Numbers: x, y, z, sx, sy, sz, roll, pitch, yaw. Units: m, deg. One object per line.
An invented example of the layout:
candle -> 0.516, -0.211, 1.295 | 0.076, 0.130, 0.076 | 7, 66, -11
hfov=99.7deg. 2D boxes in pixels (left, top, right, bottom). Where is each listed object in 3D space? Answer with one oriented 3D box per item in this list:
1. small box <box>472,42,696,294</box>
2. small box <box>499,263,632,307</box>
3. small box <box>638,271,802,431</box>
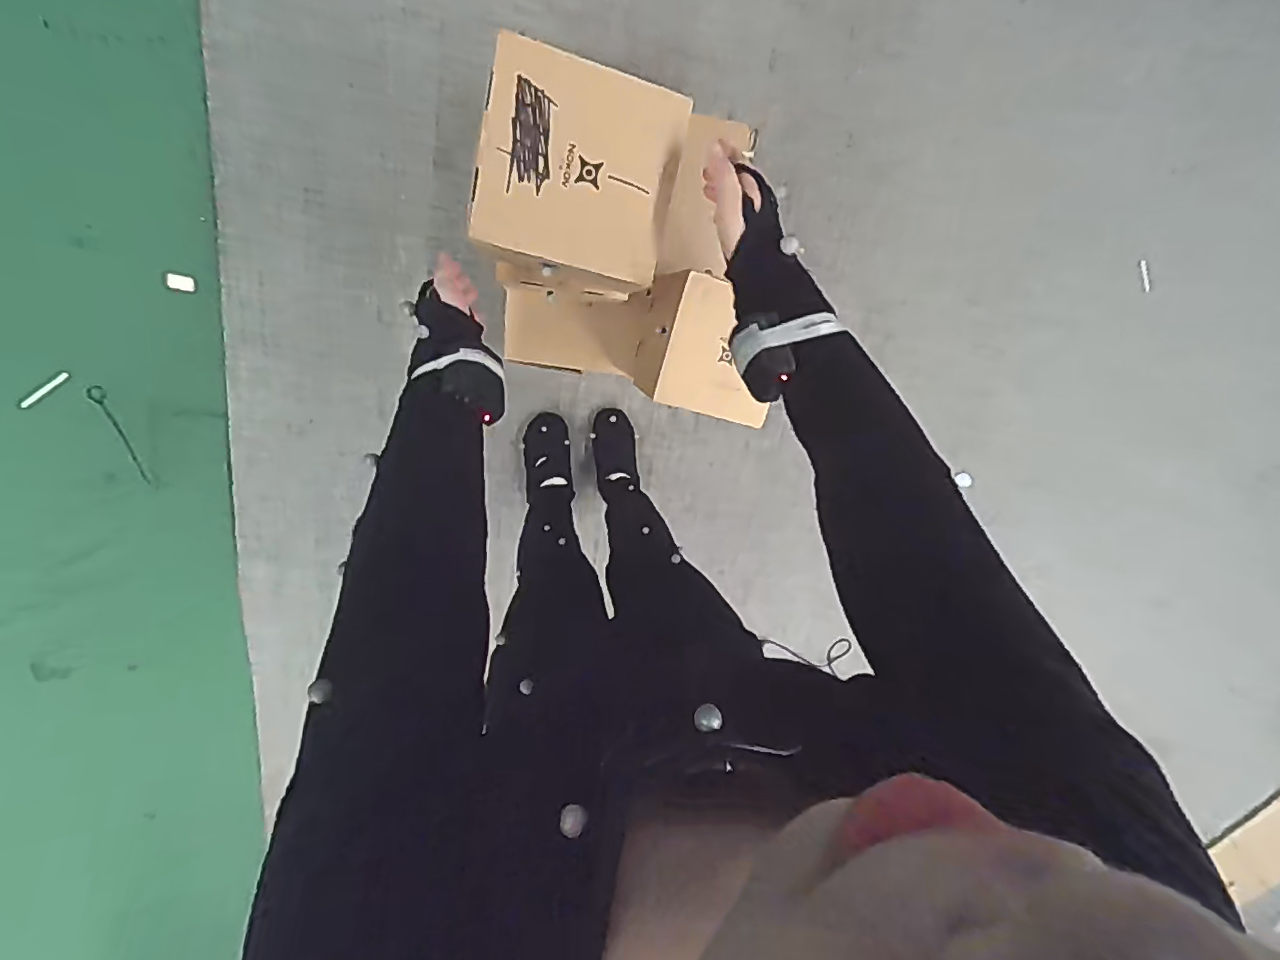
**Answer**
small box -> -0.064, -0.296, 0.562 | 0.179, 0.176, 0.168 | 10, 105, -13
small box -> -0.092, -0.335, 0.720 | 0.168, 0.176, 0.179 | 6, 106, -11
small box -> 0.104, -0.189, 0.796 | 0.168, 0.176, 0.179 | 13, 104, -14
